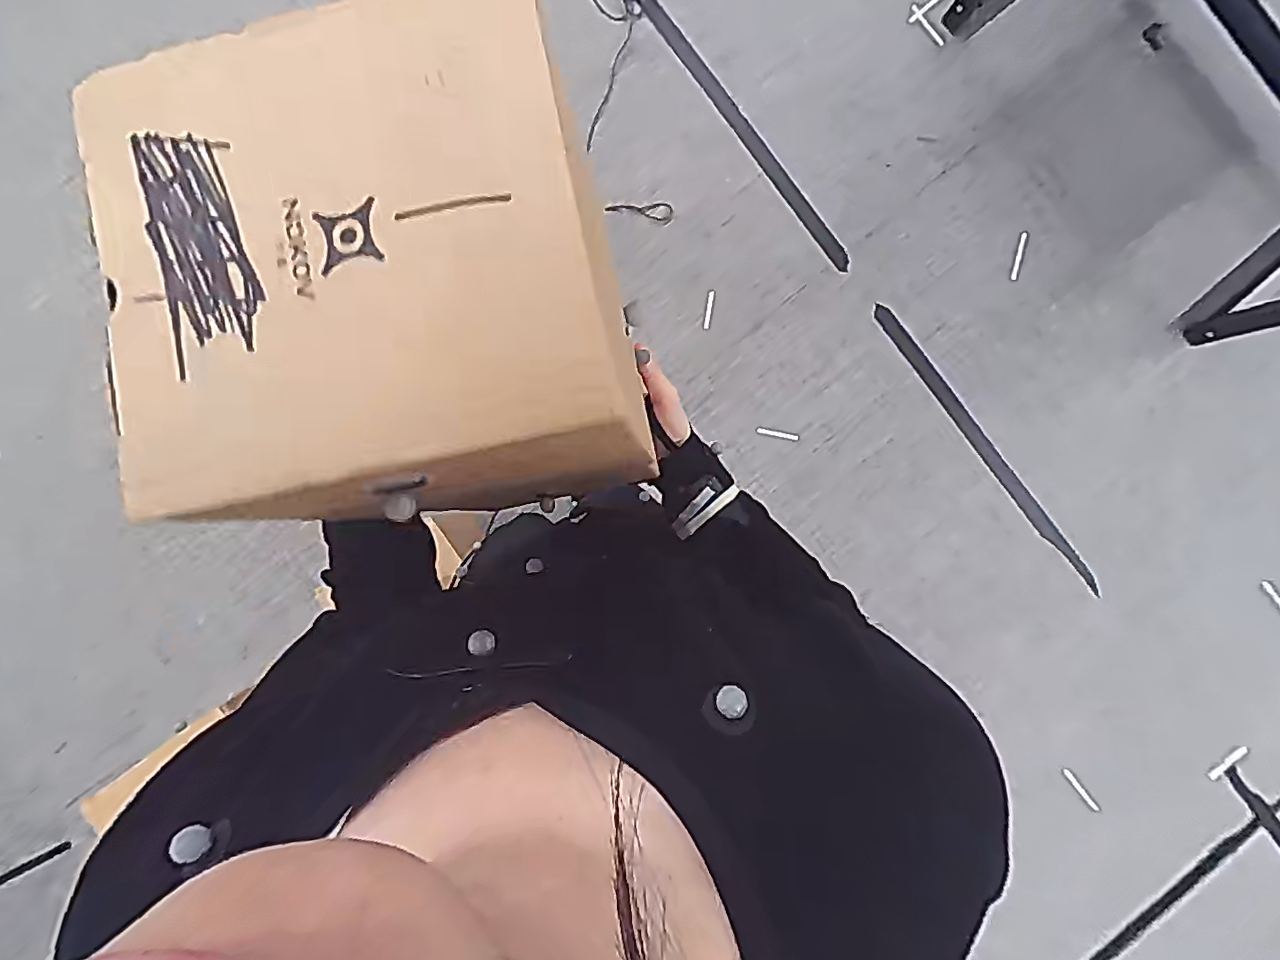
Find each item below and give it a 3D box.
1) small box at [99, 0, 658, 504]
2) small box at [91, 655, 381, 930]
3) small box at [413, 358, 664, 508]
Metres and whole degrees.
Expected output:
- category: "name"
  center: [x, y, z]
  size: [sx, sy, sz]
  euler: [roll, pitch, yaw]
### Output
- category: "small box"
  center: [-0.094, -0.083, 0.266]
  size: [0.179, 0.176, 0.168]
  euler: [-11, 86, 4]
- category: "small box"
  center: [-0.430, 0.333, 0.617]
  size: [0.179, 0.176, 0.168]
  euler: [-37, 91, 0]
- category: "small box"
  center: [-0.079, -0.078, 0.430]
  size: [0.168, 0.176, 0.179]
  euler: [-13, 84, 5]
